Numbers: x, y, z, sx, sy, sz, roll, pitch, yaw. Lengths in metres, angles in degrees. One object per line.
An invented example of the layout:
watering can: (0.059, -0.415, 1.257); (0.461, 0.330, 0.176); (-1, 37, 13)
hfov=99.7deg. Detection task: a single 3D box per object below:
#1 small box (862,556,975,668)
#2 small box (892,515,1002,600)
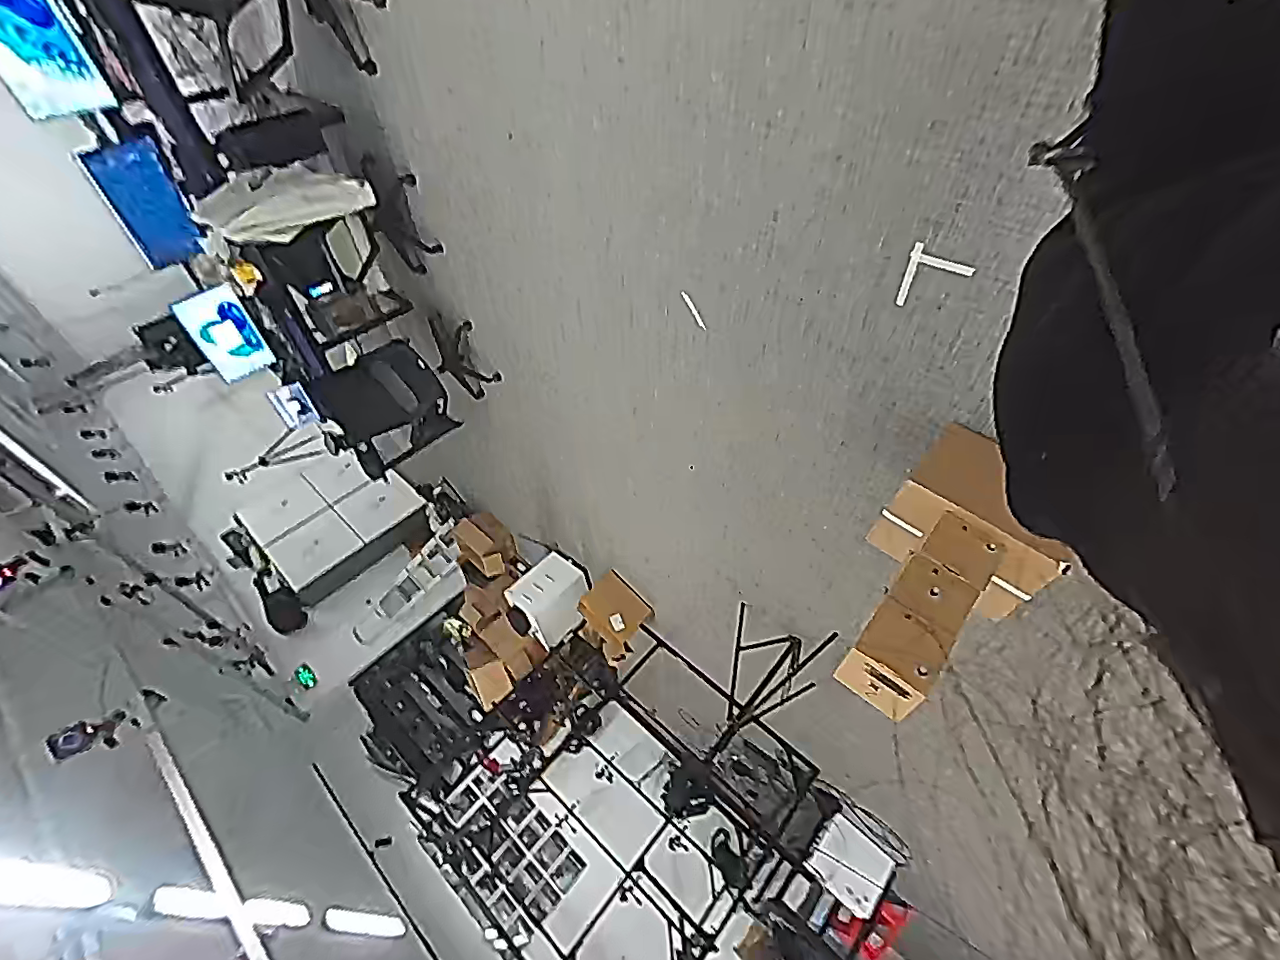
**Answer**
small box: (0.686, 0.320, 1.330); (0.168, 0.176, 0.179); (37, 148, 24)
small box: (0.797, 0.222, 1.401); (0.168, 0.176, 0.179); (38, 150, 21)
